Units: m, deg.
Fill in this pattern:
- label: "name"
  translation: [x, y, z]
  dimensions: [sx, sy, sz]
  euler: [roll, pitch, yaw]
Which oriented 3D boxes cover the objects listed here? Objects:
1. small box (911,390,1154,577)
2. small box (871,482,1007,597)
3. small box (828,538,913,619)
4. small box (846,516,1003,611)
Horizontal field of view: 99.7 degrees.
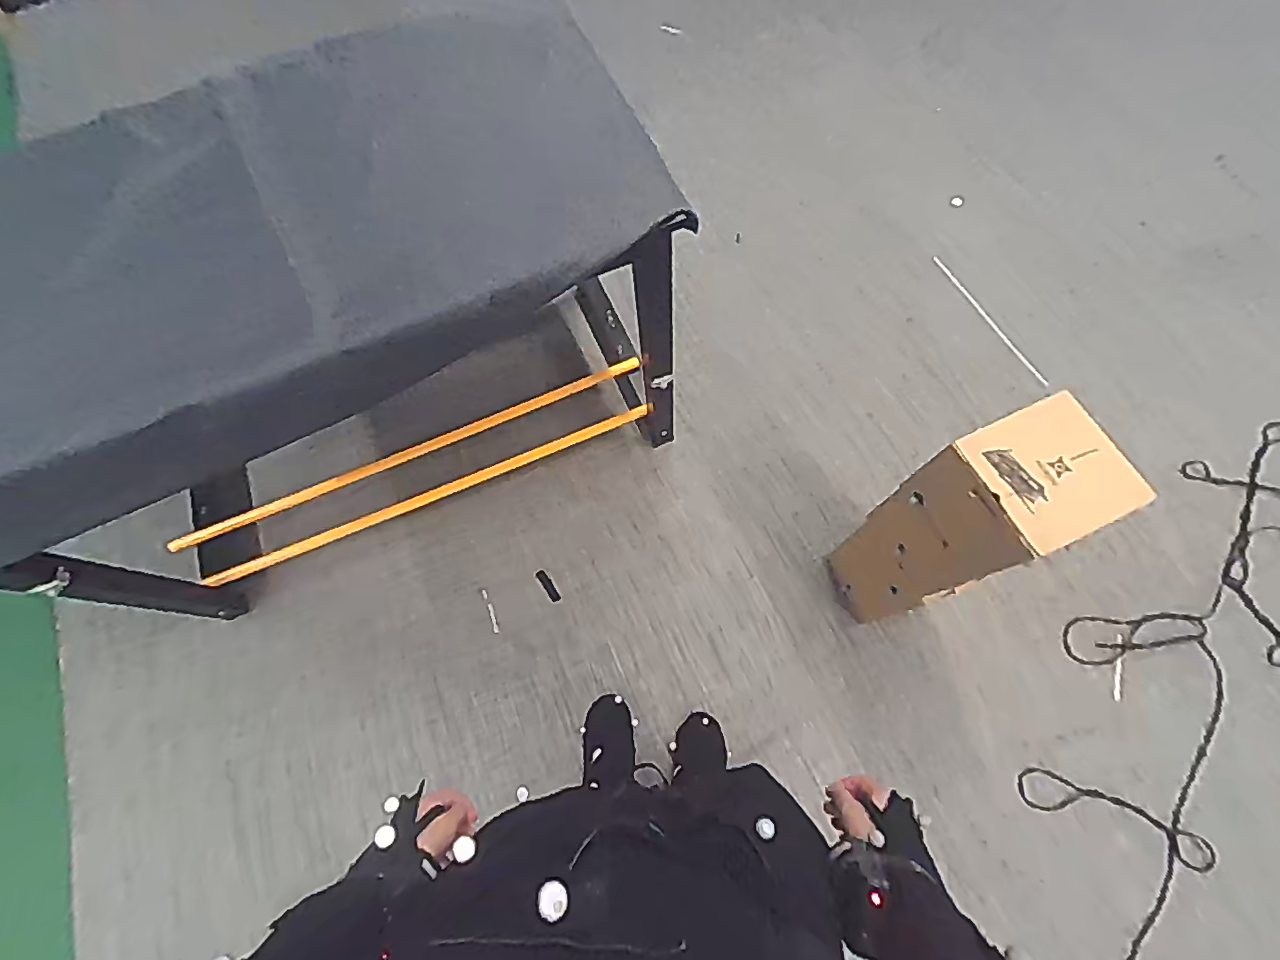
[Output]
- label: "small box"
  translation: [0.500, 0.015, 0.728]
  dimensions: [0.179, 0.176, 0.168]
  euler: [-23, 71, -7]
- label: "small box"
  translation: [0.516, 0.075, 0.881]
  dimensions: [0.179, 0.176, 0.168]
  euler: [-22, 70, -5]
- label: "small box"
  translation: [0.542, 0.195, 1.183]
  dimensions: [0.168, 0.176, 0.179]
  euler: [-20, 71, -5]
- label: "small box"
  translation: [0.528, 0.139, 1.032]
  dimensions: [0.168, 0.176, 0.179]
  euler: [-23, 69, -6]
